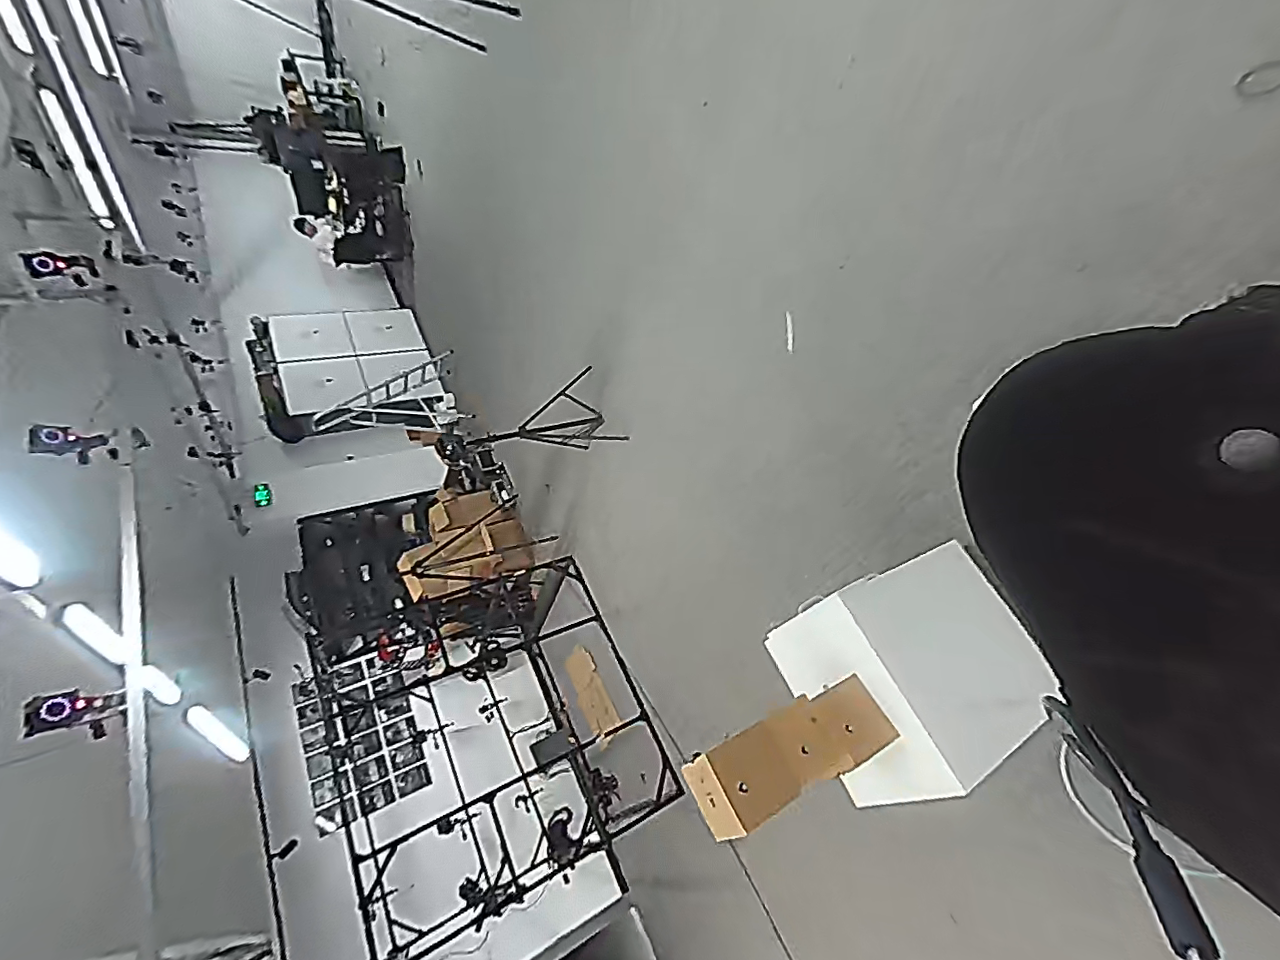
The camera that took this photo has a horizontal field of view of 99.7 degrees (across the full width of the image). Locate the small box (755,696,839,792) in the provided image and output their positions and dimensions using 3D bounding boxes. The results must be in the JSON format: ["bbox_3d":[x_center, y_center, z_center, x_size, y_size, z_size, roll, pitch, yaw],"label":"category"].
[{"bbox_3d":[0.363,0.665,1.342,0.168,0.176,0.179,58,147,28],"label":"small box"}]

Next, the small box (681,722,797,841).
[{"bbox_3d":[0.228,0.695,1.250,0.179,0.176,0.168,60,147,26],"label":"small box"}]

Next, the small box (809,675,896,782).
[{"bbox_3d":[0.516,0.640,1.398,0.179,0.176,0.168,58,146,29],"label":"small box"}]
